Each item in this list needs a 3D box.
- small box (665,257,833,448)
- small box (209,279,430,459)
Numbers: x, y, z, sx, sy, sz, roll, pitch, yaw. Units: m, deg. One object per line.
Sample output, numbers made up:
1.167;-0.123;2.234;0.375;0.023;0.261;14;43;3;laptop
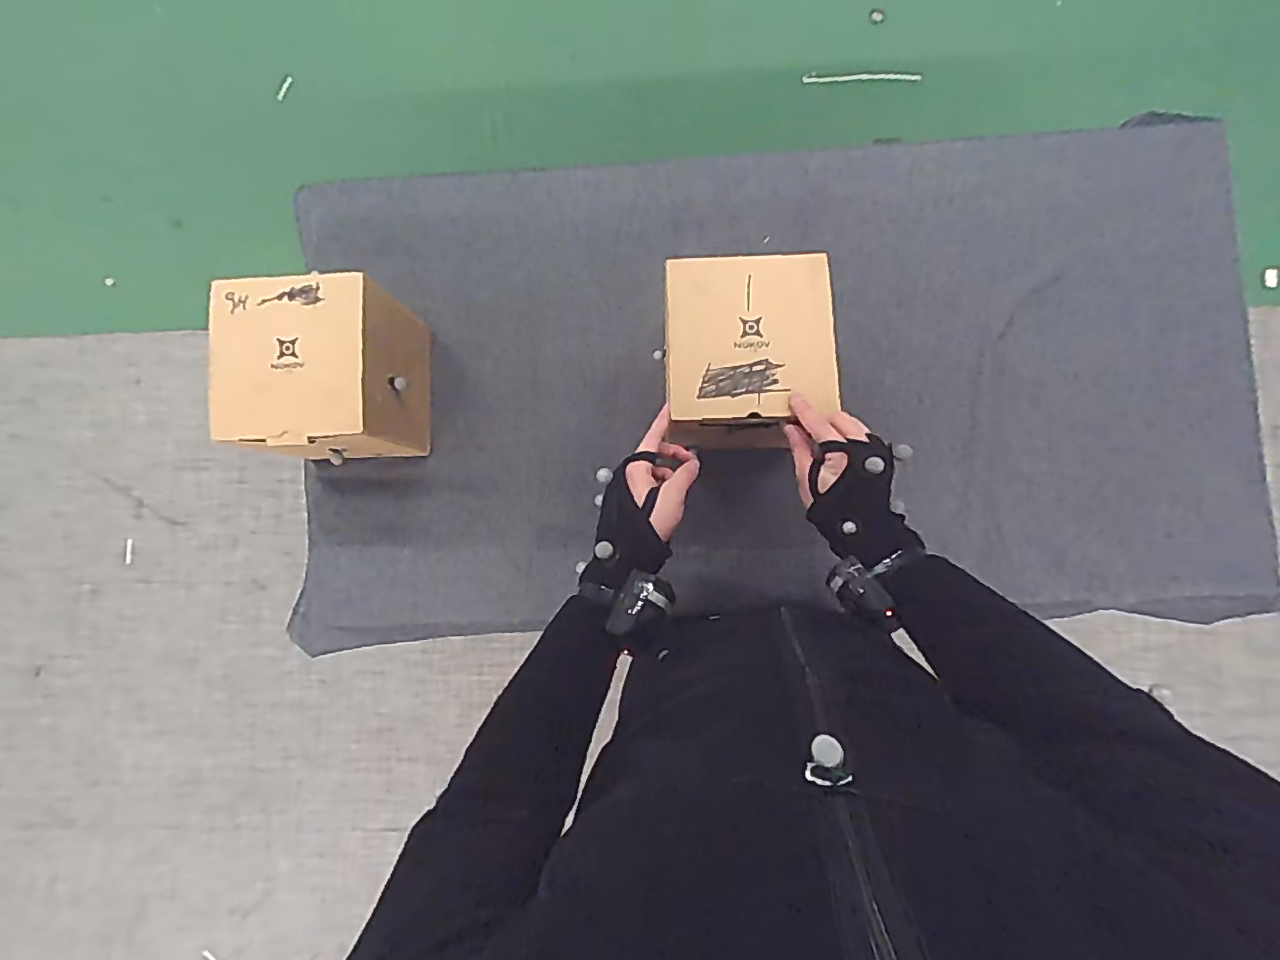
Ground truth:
0.113;-0.130;0.619;0.168;0.176;0.179;-1;85;2;small box
-0.361;-0.116;0.638;0.168;0.176;0.179;-2;87;1;small box
